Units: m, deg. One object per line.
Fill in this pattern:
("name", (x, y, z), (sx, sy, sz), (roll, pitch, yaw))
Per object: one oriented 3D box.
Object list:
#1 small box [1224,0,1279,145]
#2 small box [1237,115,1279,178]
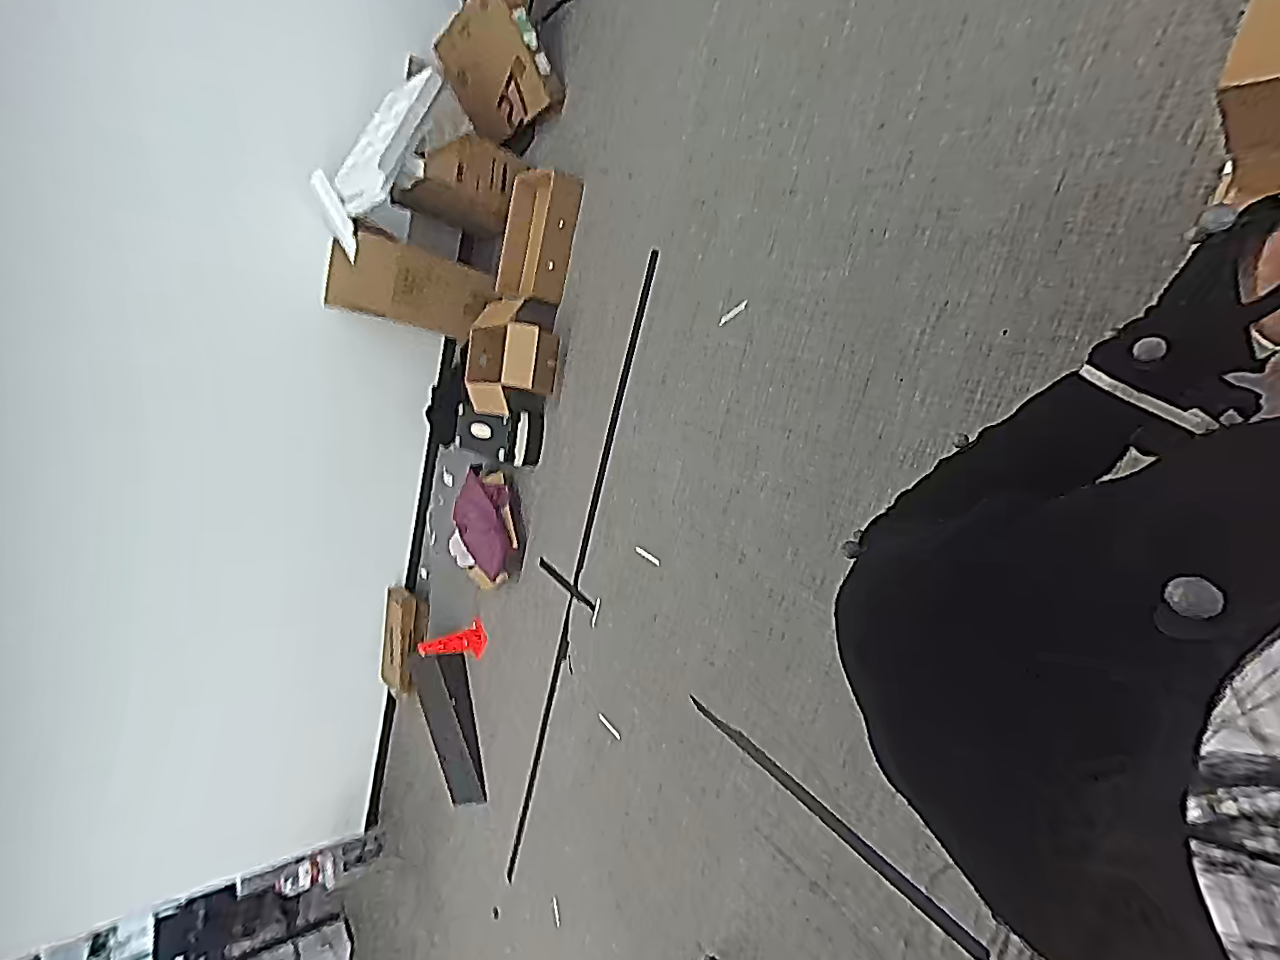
("small box", (0.675, -0.435, 0.480), (0.168, 0.176, 0.179), (27, 111, 48))
("small box", (0.800, -0.455, 0.584), (0.168, 0.176, 0.179), (27, 111, 47))
